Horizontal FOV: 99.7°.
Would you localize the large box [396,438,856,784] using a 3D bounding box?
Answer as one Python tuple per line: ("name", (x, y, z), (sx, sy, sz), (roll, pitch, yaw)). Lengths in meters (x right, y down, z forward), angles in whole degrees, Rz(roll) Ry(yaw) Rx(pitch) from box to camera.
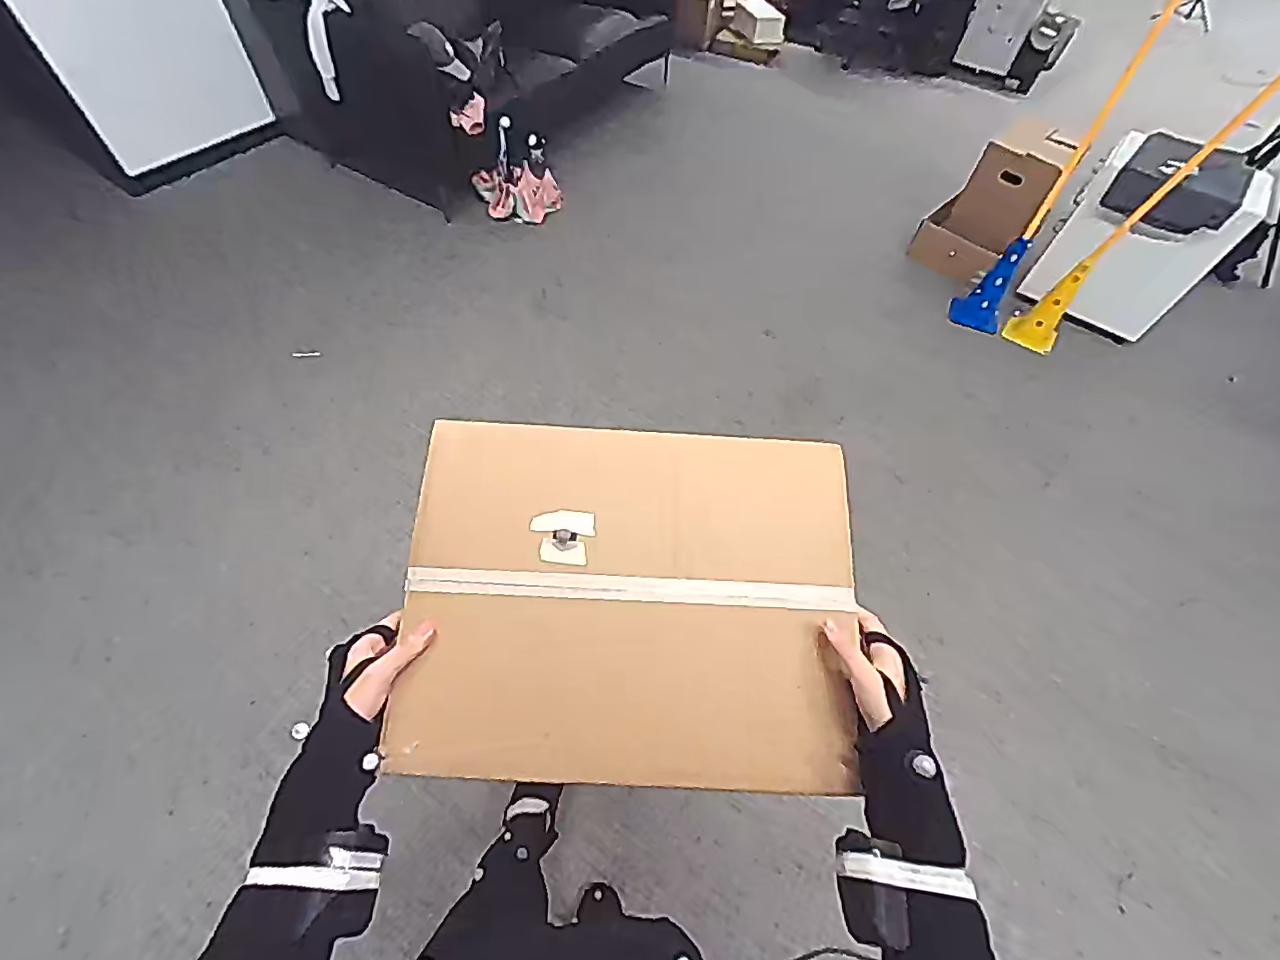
("large box", (-0.008, 0.154, 0.650), (0.408, 0.320, 0.320), (3, 71, 0))
